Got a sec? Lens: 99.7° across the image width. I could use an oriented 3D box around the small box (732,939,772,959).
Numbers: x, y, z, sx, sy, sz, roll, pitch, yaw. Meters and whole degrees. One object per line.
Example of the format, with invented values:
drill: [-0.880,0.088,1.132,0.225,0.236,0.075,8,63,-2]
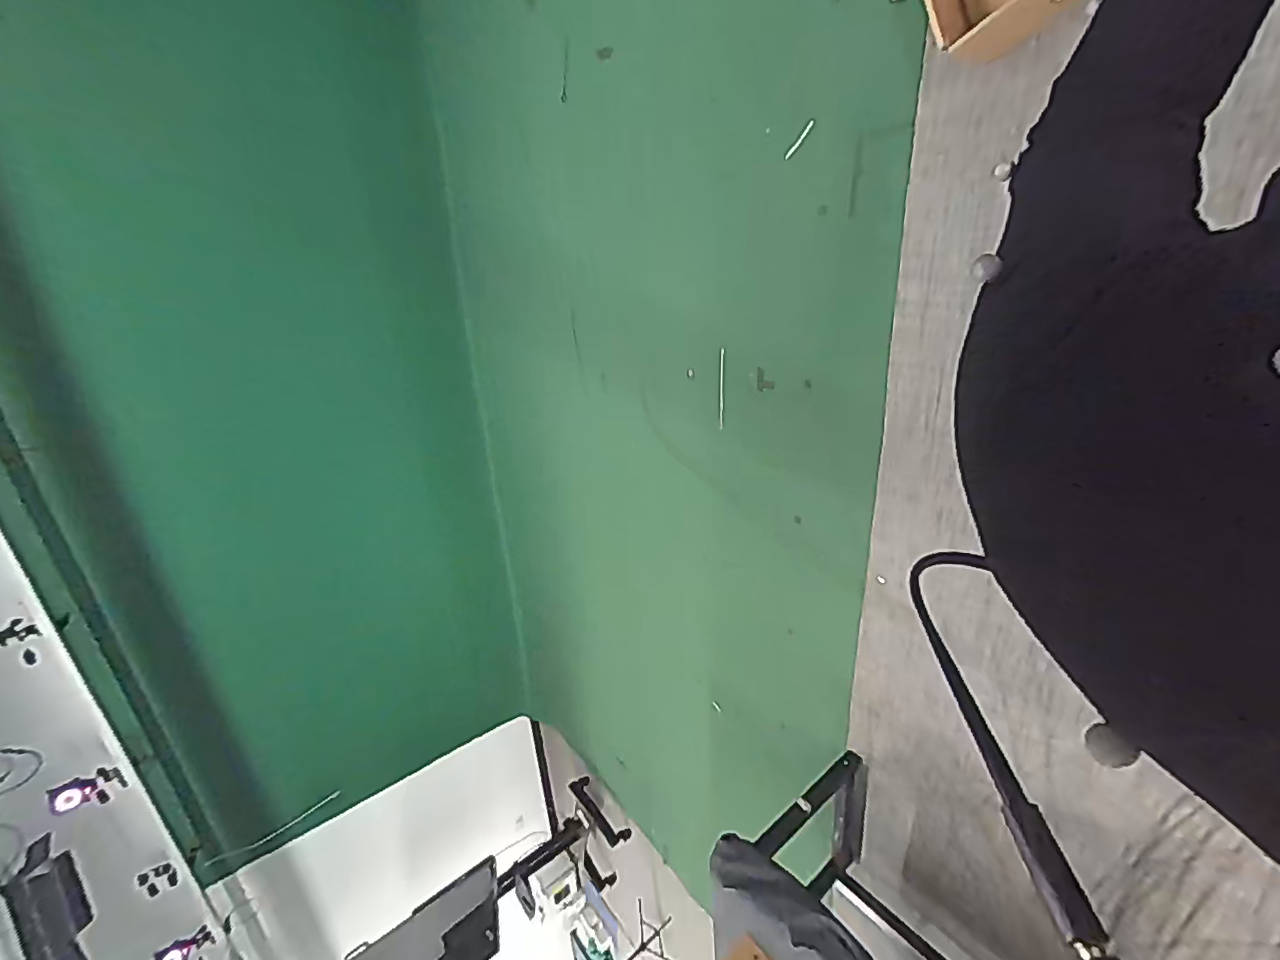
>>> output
small box: [0.323,1.454,1.509,0.168,0.176,0.179,19,122,51]
